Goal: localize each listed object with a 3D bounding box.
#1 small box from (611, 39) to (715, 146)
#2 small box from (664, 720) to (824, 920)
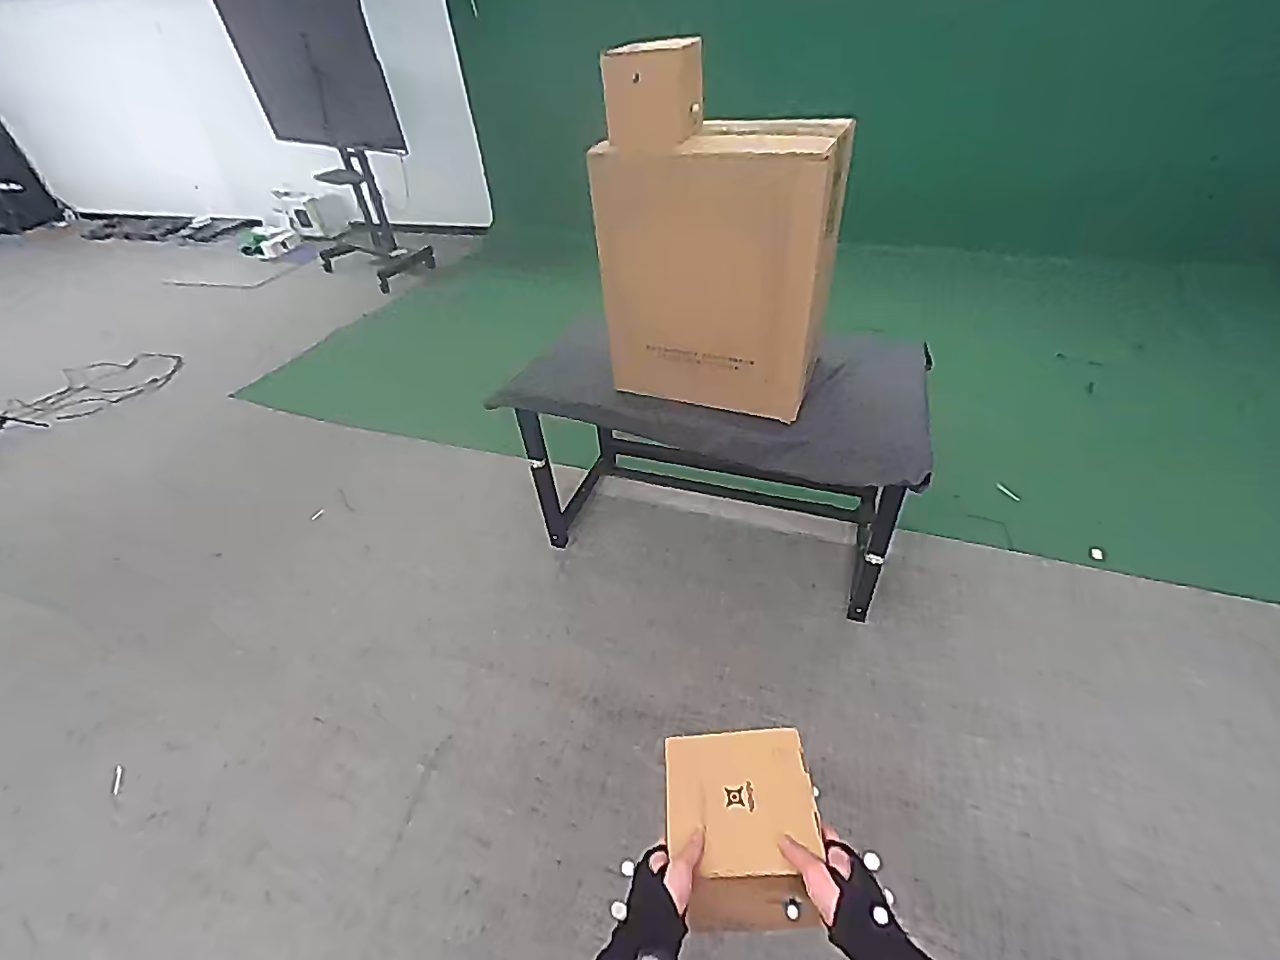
[{"bbox_3d":[0.059,-0.865,1.213,0.179,0.176,0.168,14,48,23],"label":"small box"},{"bbox_3d":[0.131,0.439,0.700,0.179,0.176,0.168,-9,32,8],"label":"small box"}]
